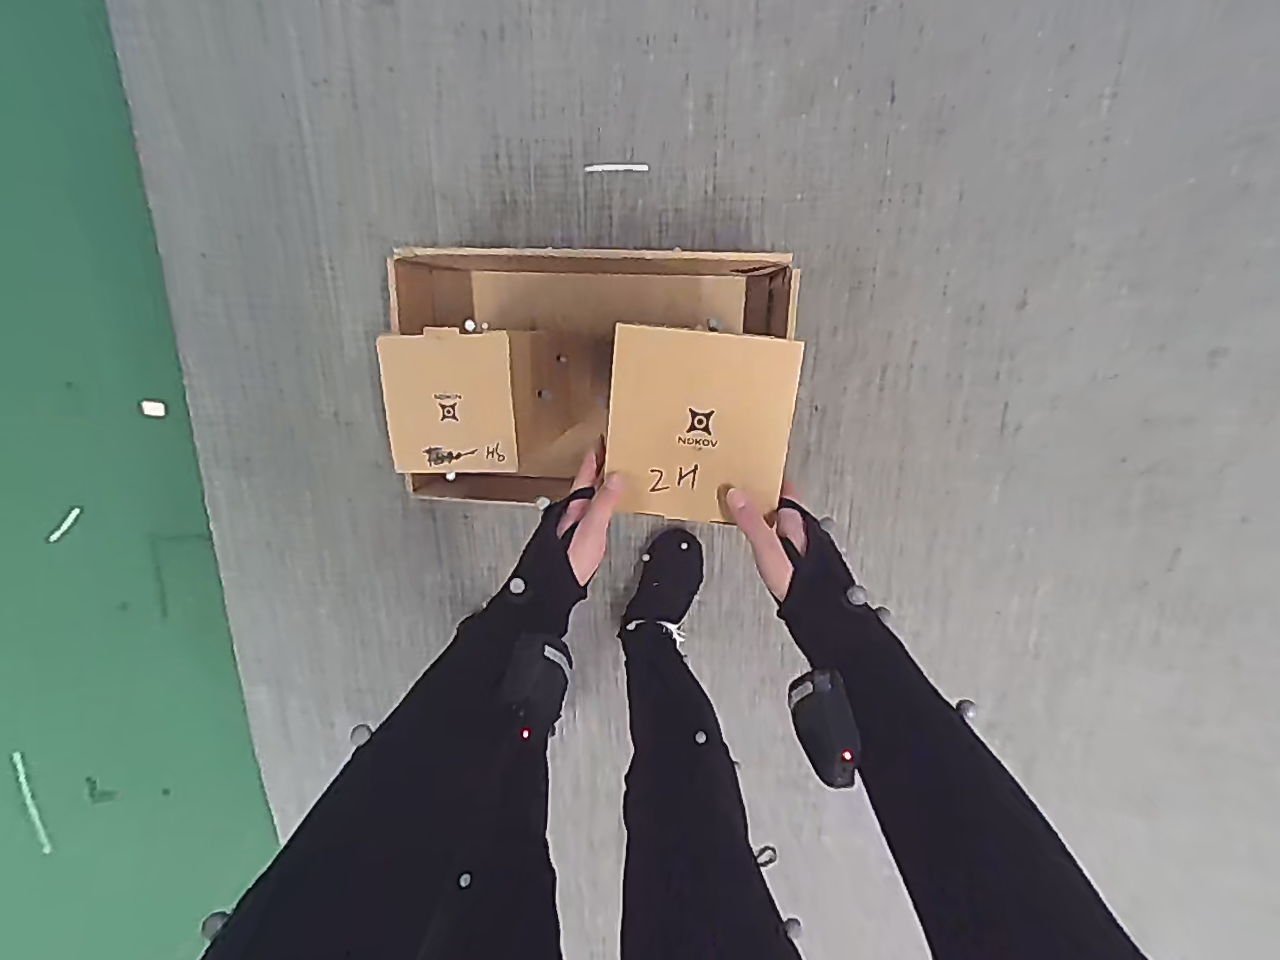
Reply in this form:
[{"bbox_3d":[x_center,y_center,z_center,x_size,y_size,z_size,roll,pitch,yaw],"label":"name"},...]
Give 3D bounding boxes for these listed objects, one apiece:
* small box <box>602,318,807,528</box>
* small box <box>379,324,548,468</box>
[{"bbox_3d":[0.059,-0.069,0.564,0.168,0.176,0.179,7,107,3],"label":"small box"},{"bbox_3d":[-0.227,-0.119,0.739,0.168,0.176,0.179,1,104,5],"label":"small box"}]
